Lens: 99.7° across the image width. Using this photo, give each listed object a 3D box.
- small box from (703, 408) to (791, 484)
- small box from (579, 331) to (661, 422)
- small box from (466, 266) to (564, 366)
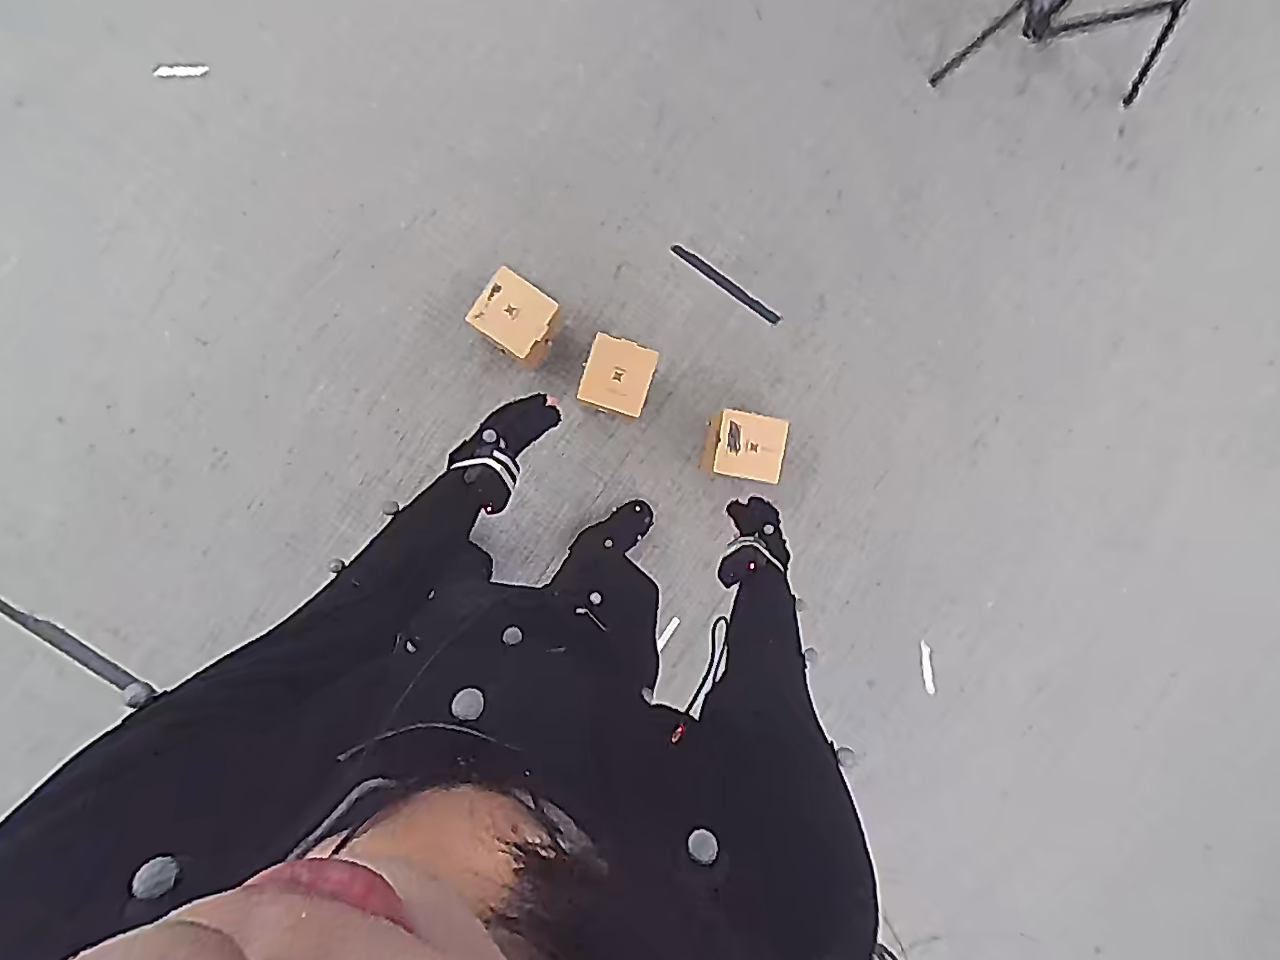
[{"bbox_3d":[0.276,-0.087,1.437,0.179,0.176,0.168,11,91,-5],"label":"small box"},{"bbox_3d":[-0.053,-0.263,1.415,0.168,0.176,0.179,17,91,-3],"label":"small box"},{"bbox_3d":[-0.311,-0.411,1.396,0.179,0.176,0.168,35,89,-4],"label":"small box"}]
